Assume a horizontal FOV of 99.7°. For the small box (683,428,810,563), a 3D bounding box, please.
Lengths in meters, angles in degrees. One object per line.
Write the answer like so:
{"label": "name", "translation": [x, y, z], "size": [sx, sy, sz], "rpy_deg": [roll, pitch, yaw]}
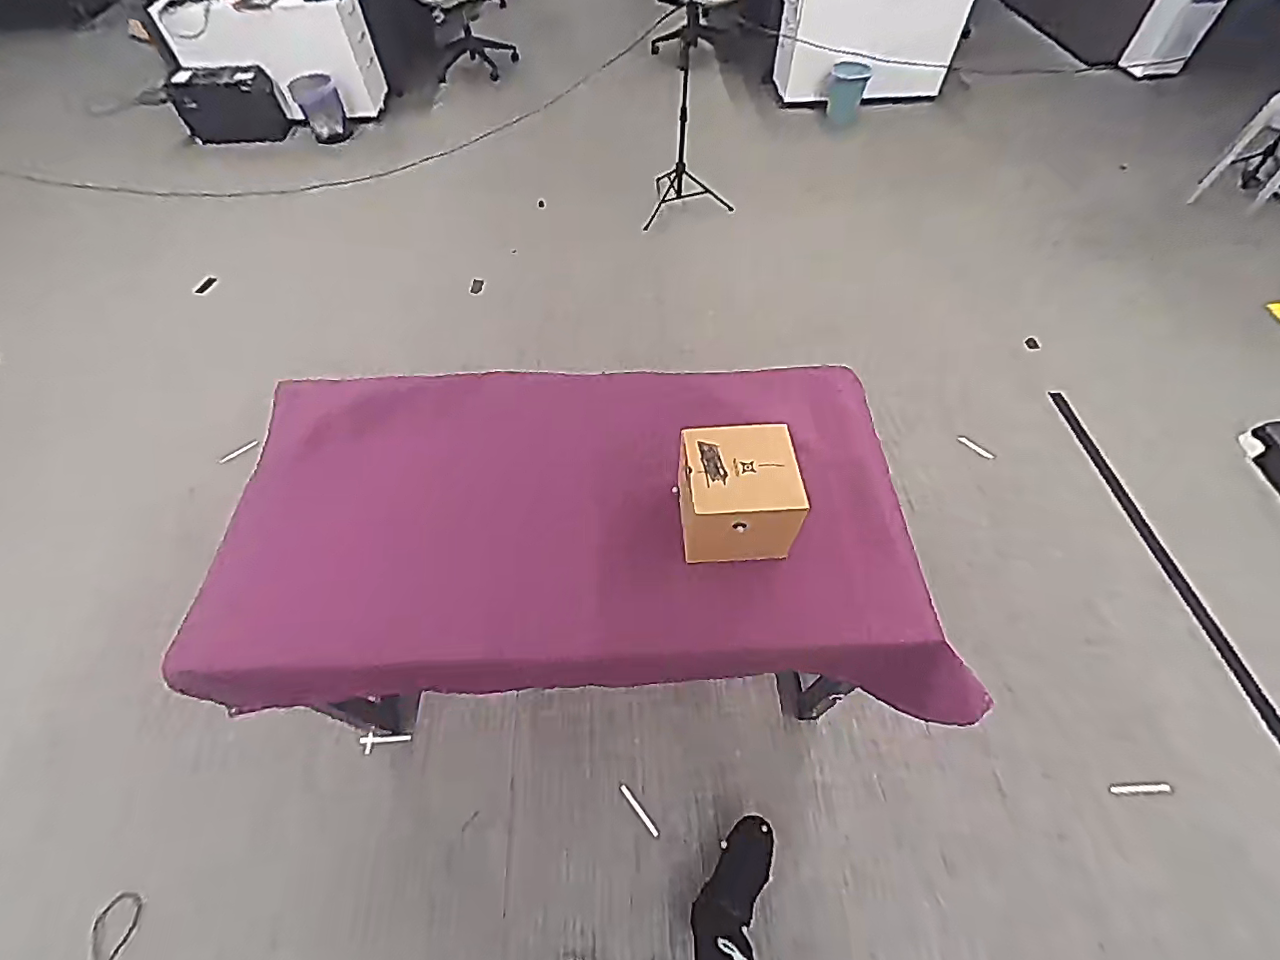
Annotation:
{"label": "small box", "translation": [0.165, 0.031, 0.909], "size": [0.179, 0.176, 0.168], "rpy_deg": [-2, 56, -1]}
